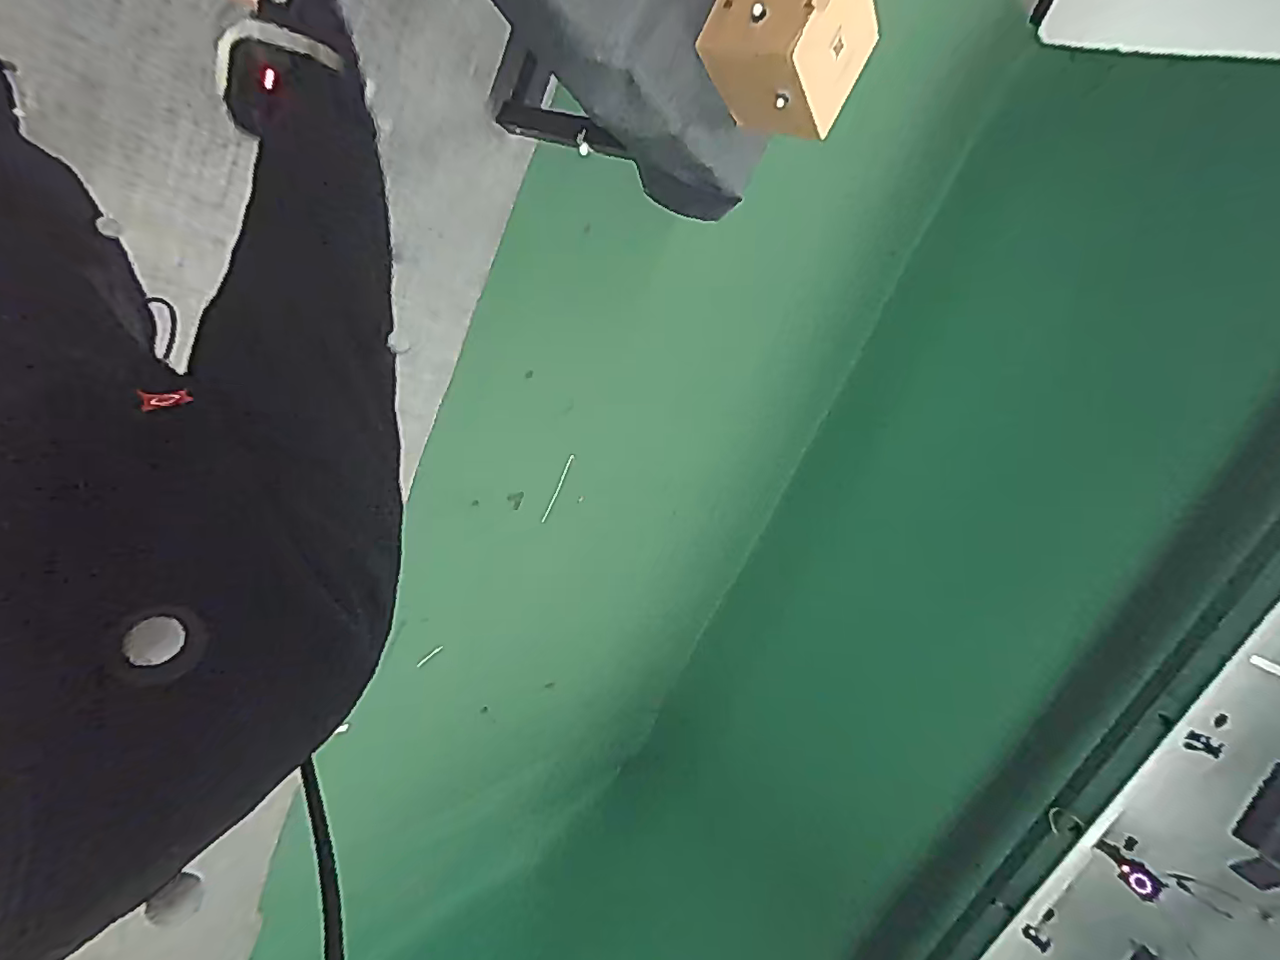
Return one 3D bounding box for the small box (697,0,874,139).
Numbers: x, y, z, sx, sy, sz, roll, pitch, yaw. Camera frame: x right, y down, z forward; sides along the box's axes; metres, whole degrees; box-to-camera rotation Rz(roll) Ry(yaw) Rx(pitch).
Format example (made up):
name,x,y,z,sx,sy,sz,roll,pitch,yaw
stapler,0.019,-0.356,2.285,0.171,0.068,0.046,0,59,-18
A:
name,x,y,z,sx,sy,sz,roll,pitch,yaw
small box,0.212,-0.644,0.793,0.179,0.176,0.168,14,108,-58
